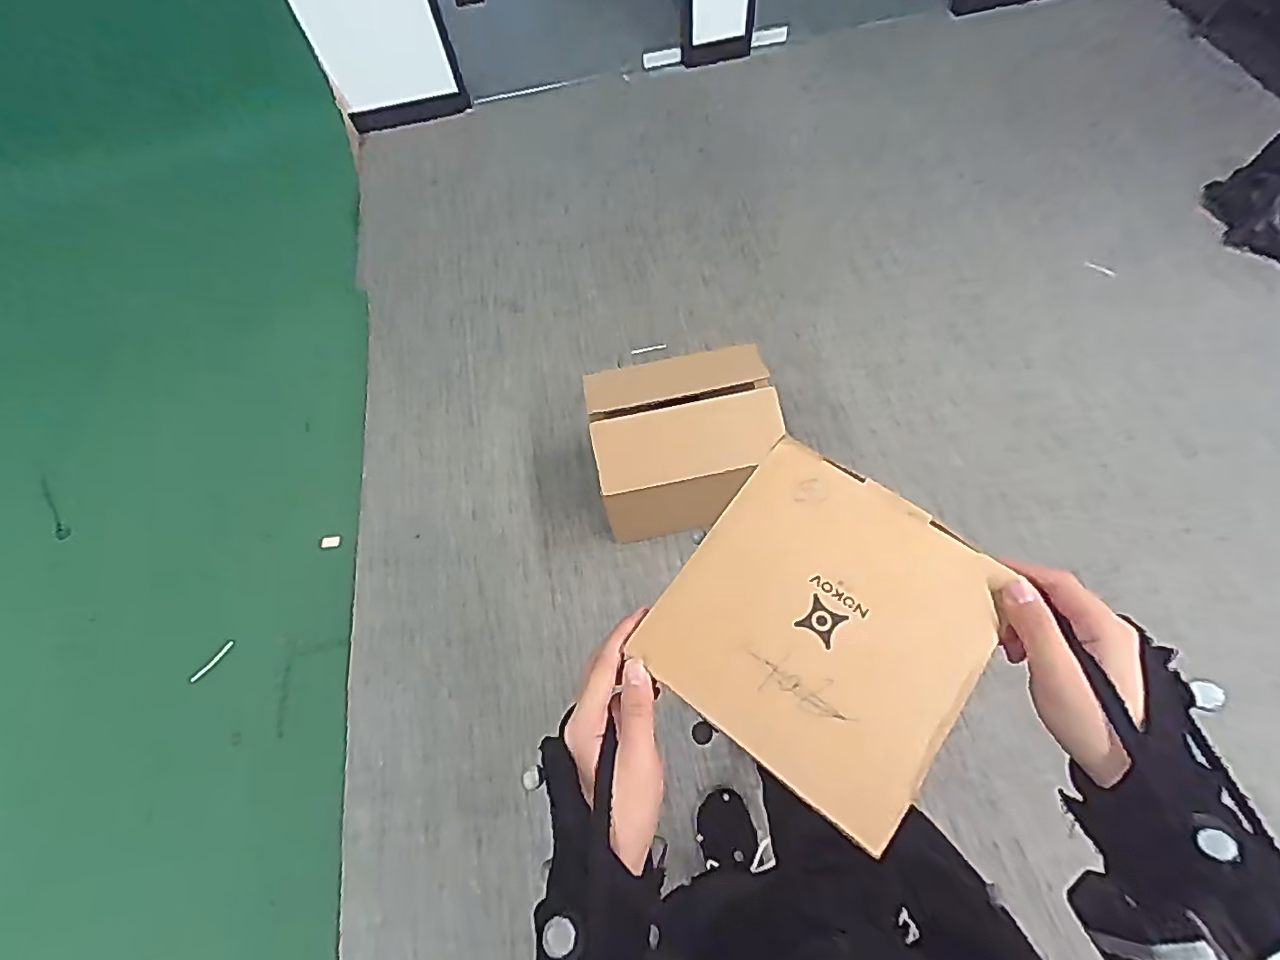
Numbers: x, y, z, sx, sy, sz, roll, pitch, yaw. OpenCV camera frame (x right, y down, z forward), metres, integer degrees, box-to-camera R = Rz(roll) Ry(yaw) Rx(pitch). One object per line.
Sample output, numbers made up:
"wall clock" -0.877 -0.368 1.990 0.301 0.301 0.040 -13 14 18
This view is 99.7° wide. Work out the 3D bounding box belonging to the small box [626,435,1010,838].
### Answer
"small box" 0.111 0.105 0.394 0.168 0.176 0.179 34 76 18
